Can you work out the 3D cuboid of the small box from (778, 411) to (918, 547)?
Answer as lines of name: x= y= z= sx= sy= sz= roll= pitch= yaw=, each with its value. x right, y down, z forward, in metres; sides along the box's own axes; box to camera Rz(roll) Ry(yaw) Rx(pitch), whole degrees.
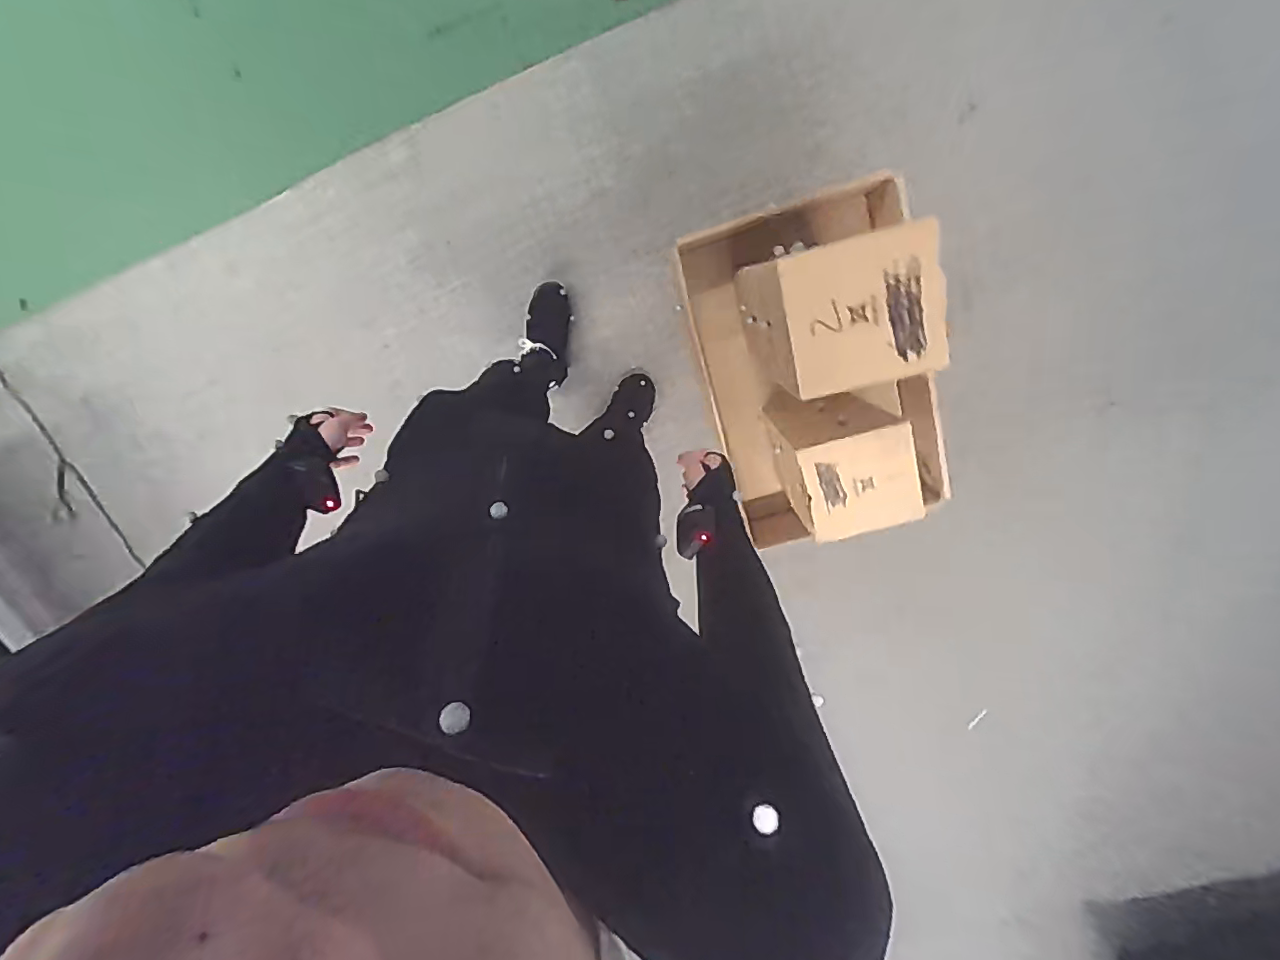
small box: x=0.344 y=-0.008 z=0.926 sx=0.179 sy=0.176 sz=0.168 roll=-15 pitch=106 yaw=6

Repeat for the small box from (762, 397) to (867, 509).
small box: x=0.350 y=-0.058 z=1.083 sx=0.179 sy=0.176 sz=0.168 roll=-14 pitch=106 yaw=7

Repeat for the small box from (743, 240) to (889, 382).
small box: x=0.264 y=-0.261 z=0.849 sx=0.179 sy=0.176 sz=0.168 roll=-13 pitch=107 yaw=7
